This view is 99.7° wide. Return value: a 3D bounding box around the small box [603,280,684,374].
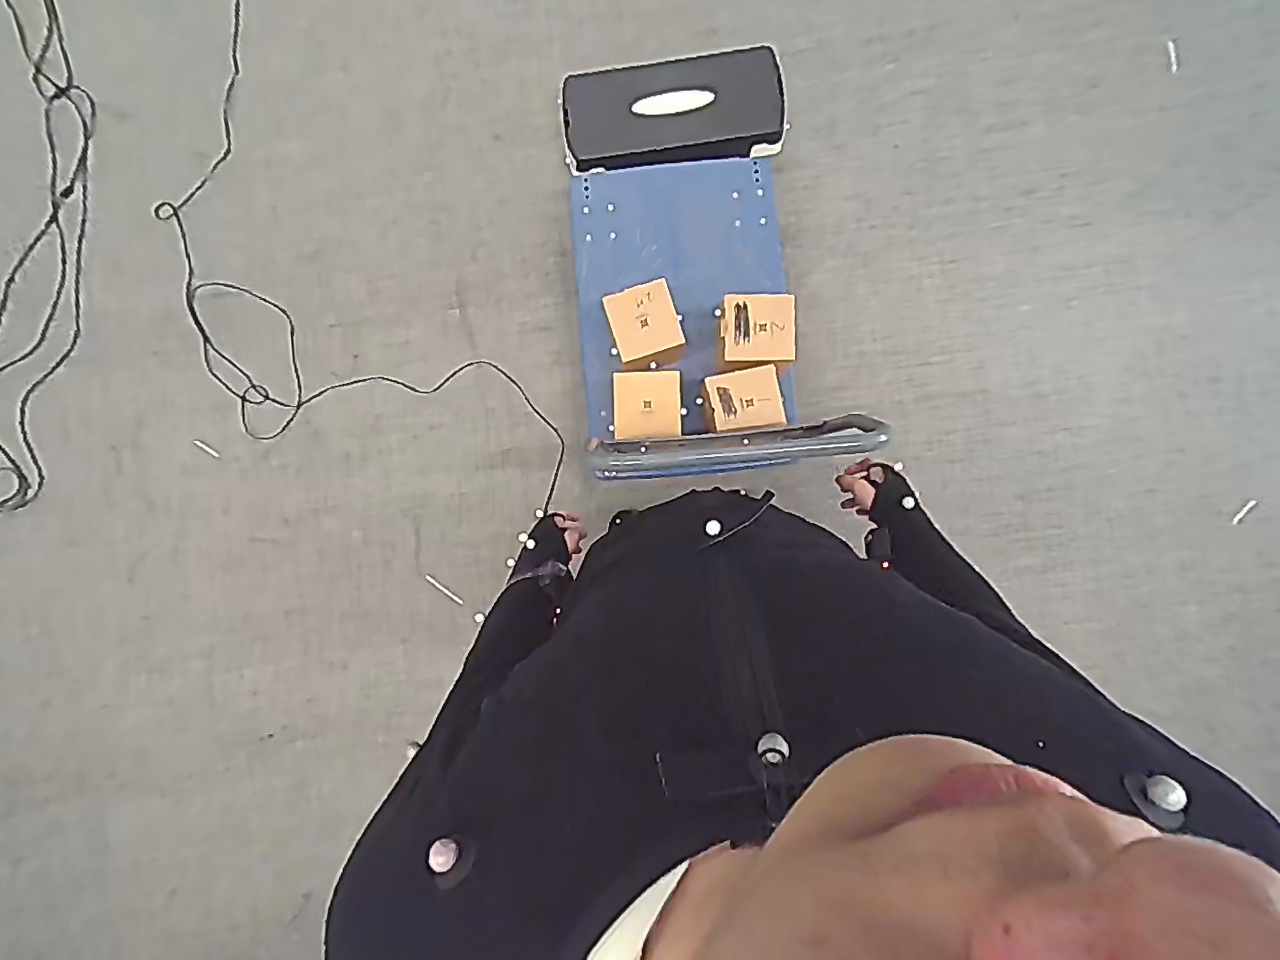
[{"bbox_3d":[0.010,-0.386,1.408,0.168,0.176,0.179,-17,87,0],"label":"small box"}]
